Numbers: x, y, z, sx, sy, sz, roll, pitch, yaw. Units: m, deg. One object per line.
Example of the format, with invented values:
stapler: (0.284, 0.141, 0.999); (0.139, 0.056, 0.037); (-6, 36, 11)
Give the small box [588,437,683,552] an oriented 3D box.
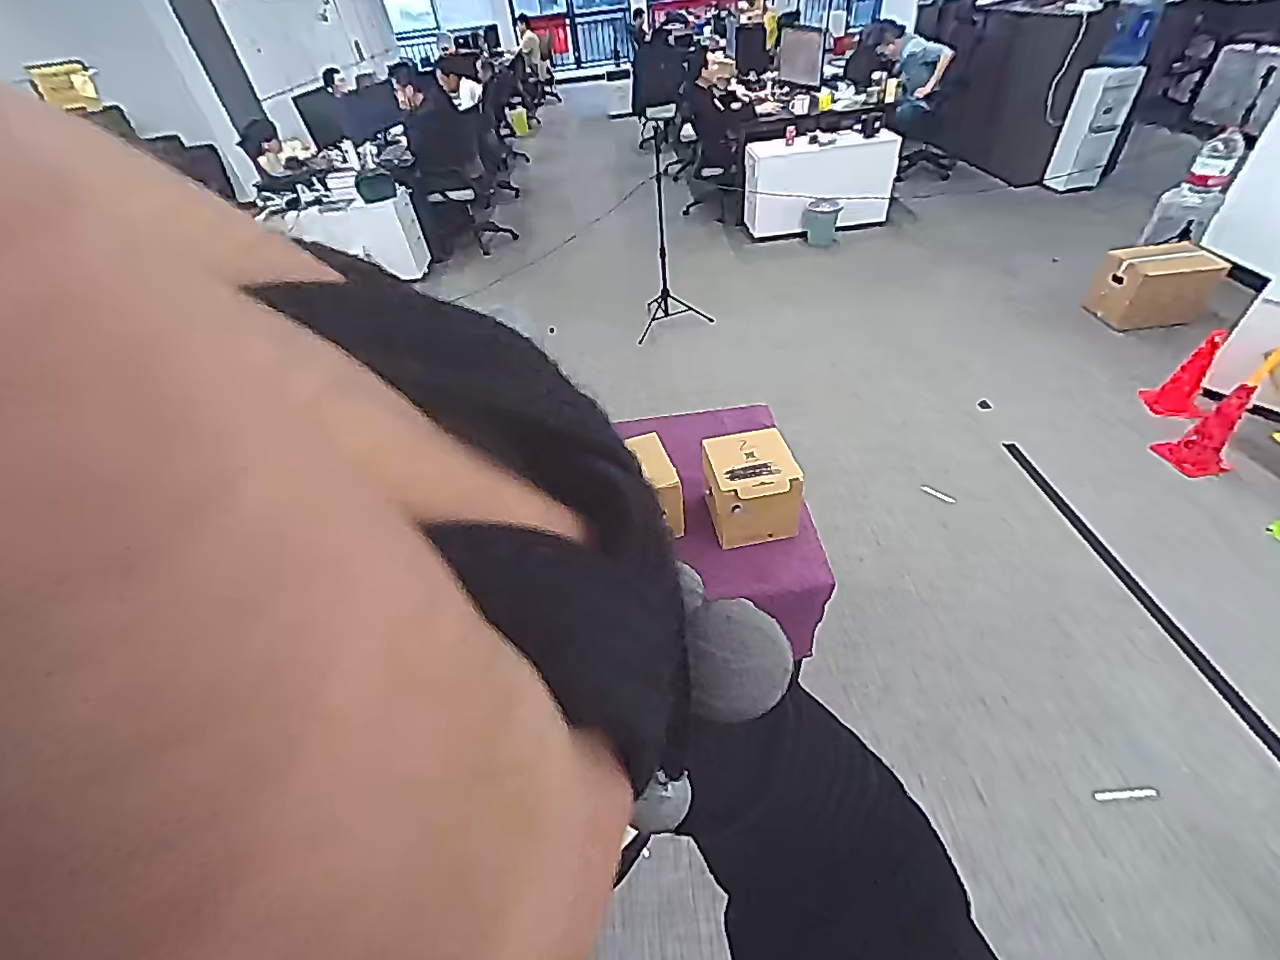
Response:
small box: (-0.008, 0.038, 1.187); (0.168, 0.176, 0.179); (-14, 43, -8)
